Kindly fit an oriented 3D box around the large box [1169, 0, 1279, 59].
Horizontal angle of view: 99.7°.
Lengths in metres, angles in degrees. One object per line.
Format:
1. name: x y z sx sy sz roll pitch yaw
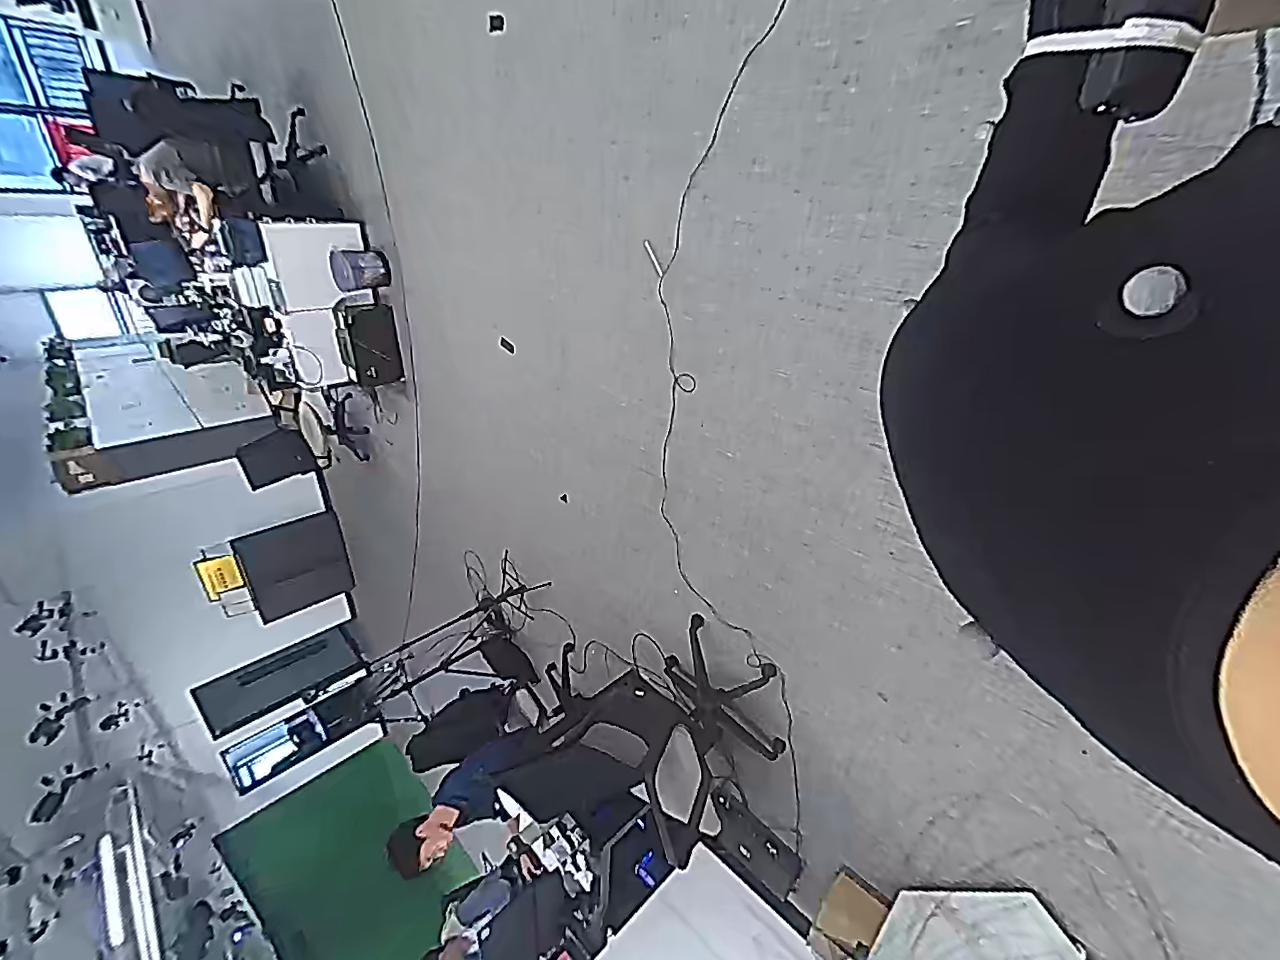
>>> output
1. large box: 0.555 -0.424 0.231 0.408 0.320 0.320 21 129 39
